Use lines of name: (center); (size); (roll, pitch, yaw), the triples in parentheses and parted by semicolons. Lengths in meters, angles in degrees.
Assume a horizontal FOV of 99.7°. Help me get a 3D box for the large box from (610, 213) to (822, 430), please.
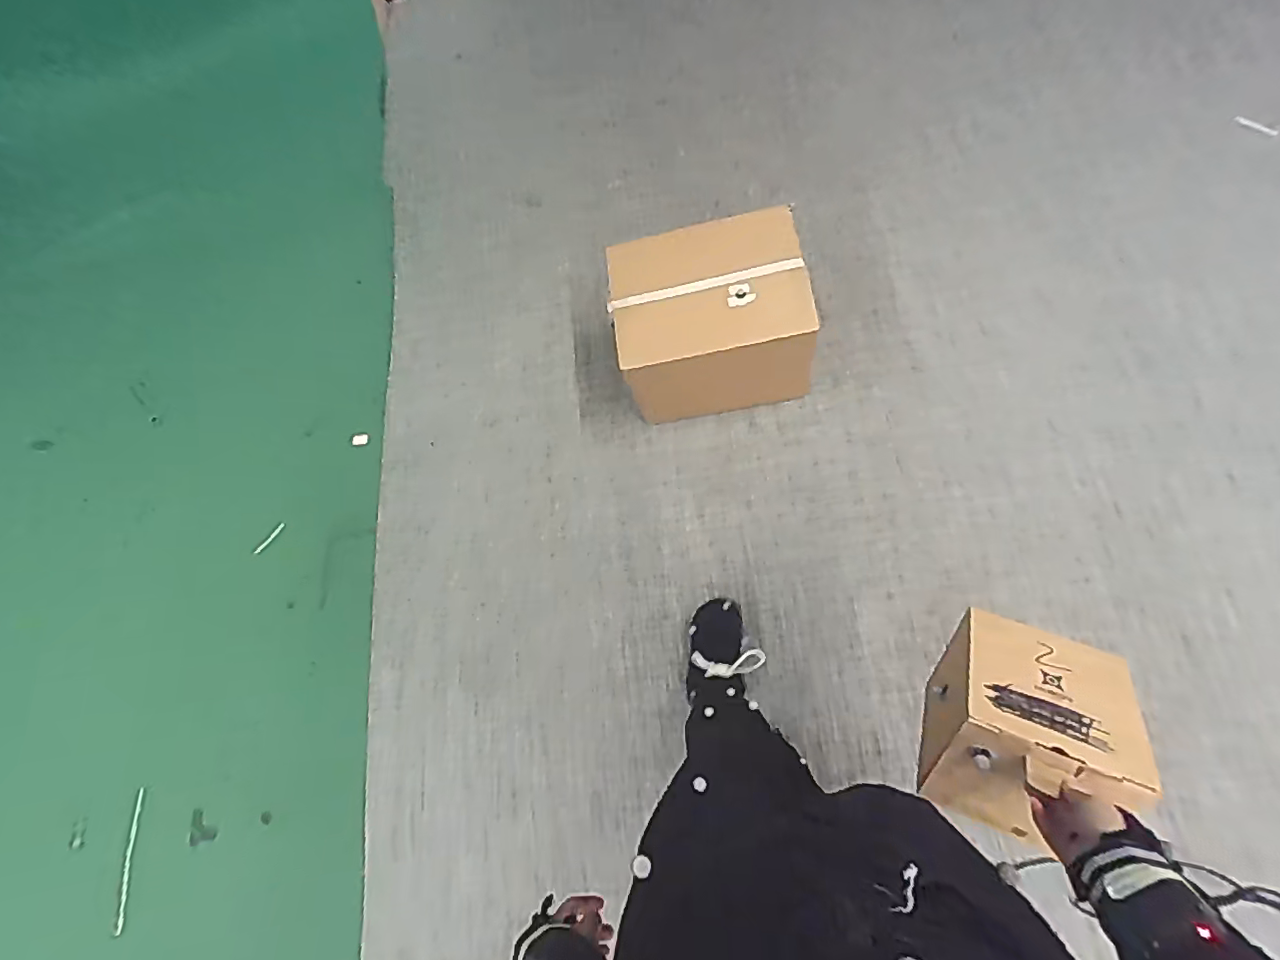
large box: (0.171, -0.345, 1.261); (0.408, 0.320, 0.320); (-10, 72, 8)
